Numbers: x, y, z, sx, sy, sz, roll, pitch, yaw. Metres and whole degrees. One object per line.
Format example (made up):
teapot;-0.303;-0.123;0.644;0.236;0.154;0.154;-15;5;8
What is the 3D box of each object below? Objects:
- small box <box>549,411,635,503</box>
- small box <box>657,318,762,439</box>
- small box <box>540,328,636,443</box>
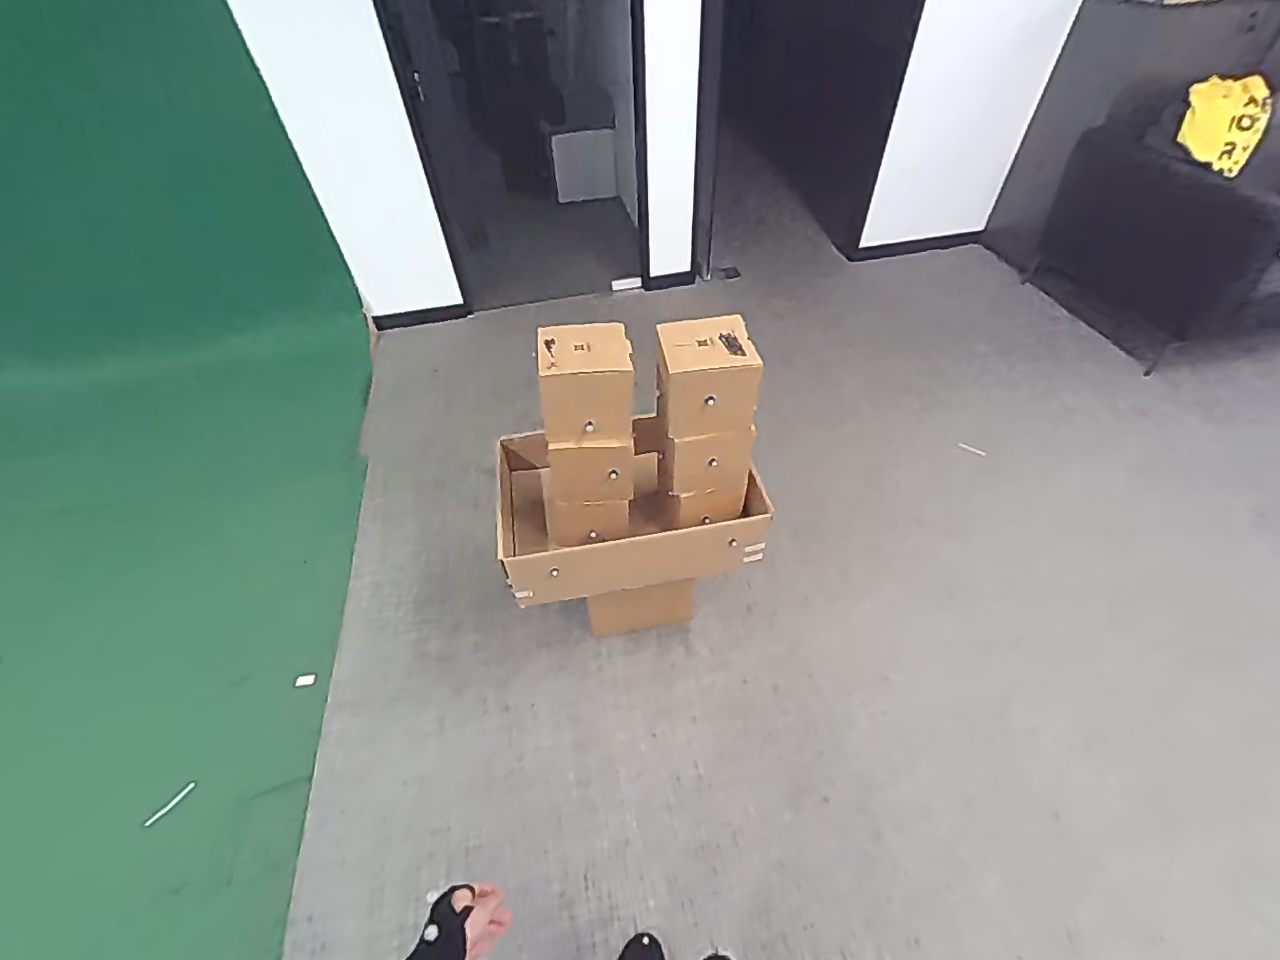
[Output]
small box;-0.104;-0.063;1.197;0.179;0.176;0.168;-2;46;-4
small box;0.131;-0.202;1.090;0.179;0.176;0.168;-8;48;-3
small box;-0.108;-0.190;1.093;0.179;0.176;0.168;-4;46;-7
